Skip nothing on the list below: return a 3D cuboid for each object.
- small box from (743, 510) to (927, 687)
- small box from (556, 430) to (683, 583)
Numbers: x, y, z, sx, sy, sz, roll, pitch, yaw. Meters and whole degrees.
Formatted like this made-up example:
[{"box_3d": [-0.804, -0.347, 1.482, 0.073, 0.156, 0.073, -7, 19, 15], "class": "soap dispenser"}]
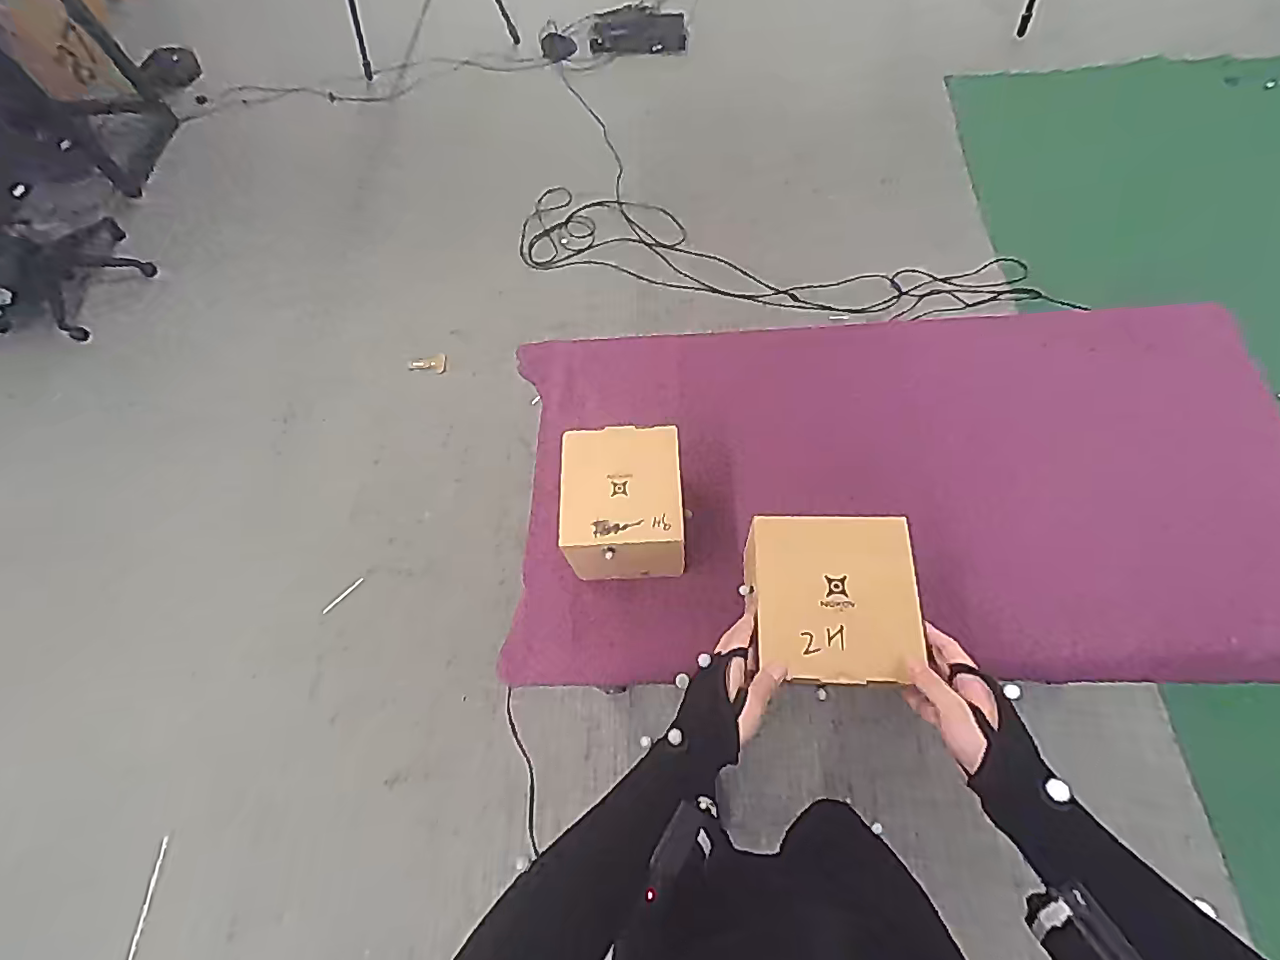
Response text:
[{"box_3d": [0.212, 0.146, 0.640, 0.168, 0.176, 0.179, 0, 68, 7], "class": "small box"}, {"box_3d": [-0.023, 0.044, 0.800, 0.168, 0.176, 0.179, -3, 63, 3], "class": "small box"}]
